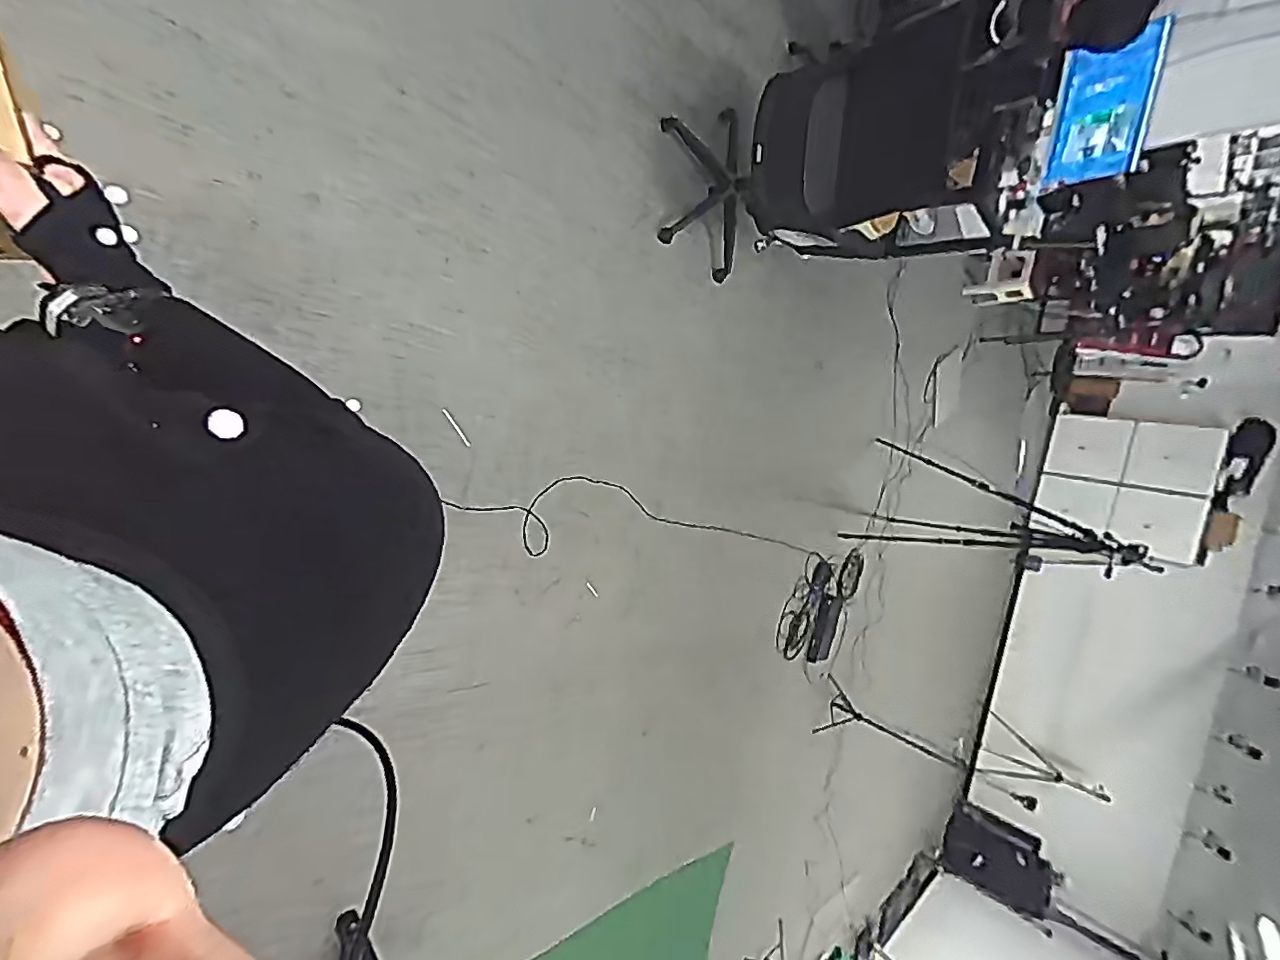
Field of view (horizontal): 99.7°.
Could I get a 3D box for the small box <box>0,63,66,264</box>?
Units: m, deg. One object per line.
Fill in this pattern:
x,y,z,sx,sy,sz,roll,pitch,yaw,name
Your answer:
-0.648,-0.309,0.461,0.168,0.176,0.179,-17,91,-34,small box
